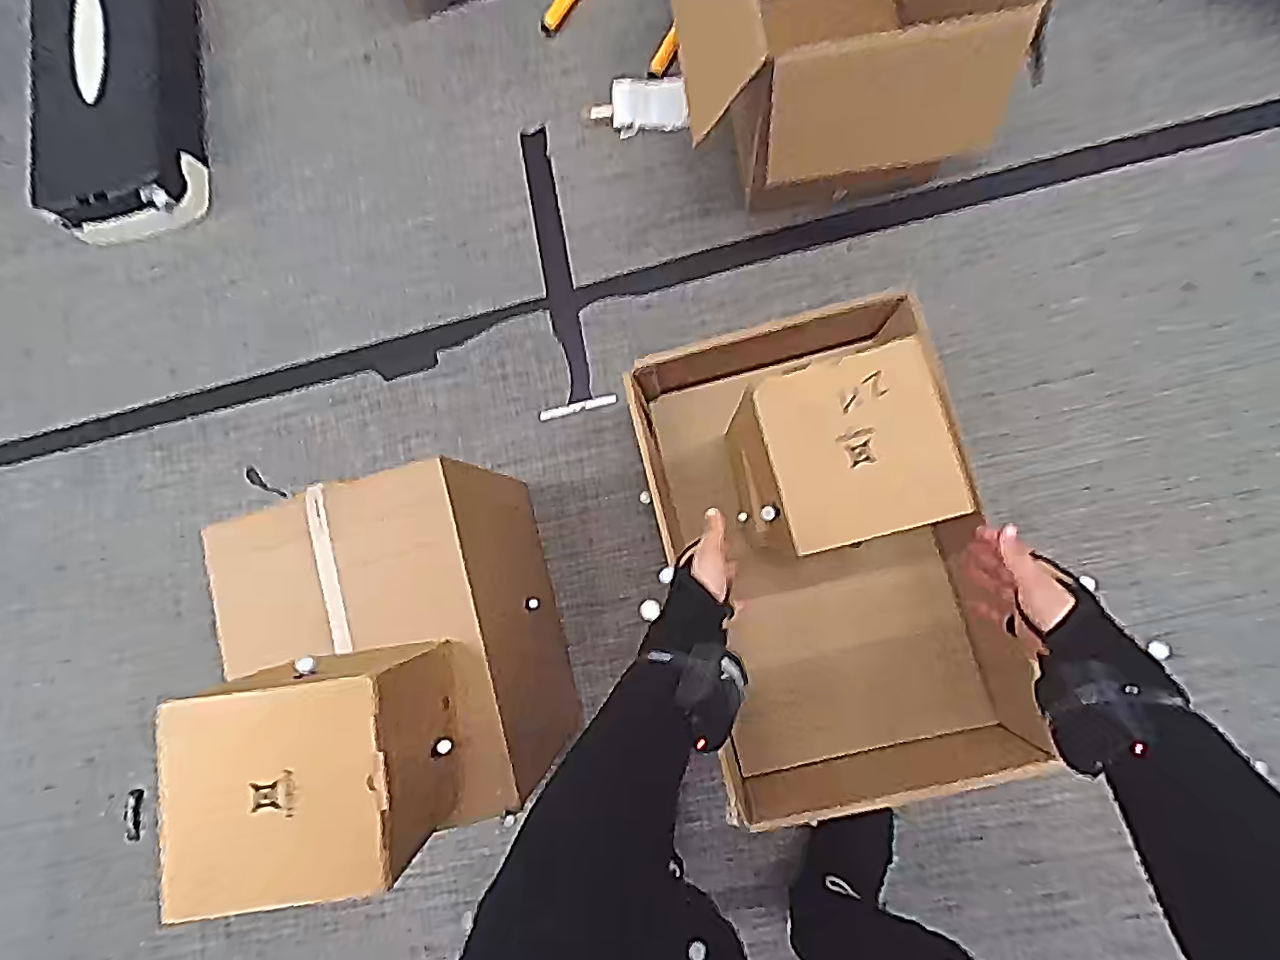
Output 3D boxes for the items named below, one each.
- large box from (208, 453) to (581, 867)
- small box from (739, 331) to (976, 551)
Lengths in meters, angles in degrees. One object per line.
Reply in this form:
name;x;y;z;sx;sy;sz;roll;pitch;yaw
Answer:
large box;-0.303;0.212;0.757;0.320;0.320;0.408;-16;83;5
small box;0.211;-0.031;0.576;0.168;0.176;0.179;-14;84;3
